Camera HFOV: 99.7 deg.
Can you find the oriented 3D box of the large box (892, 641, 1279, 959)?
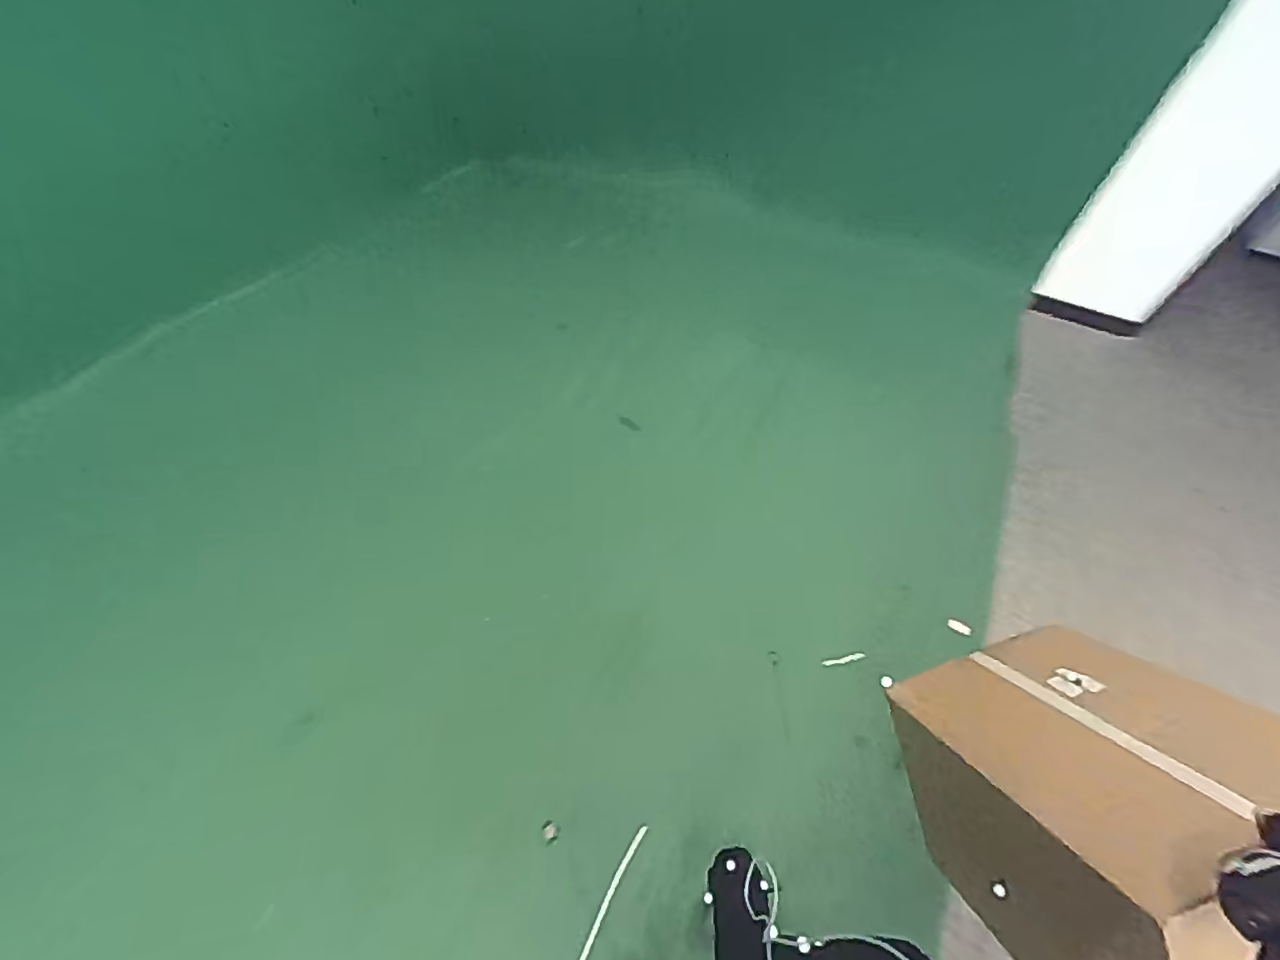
[{"bbox_3d":[0.612,0.468,0.688,0.320,0.408,0.320,-18,97,-5],"label":"large box"}]
